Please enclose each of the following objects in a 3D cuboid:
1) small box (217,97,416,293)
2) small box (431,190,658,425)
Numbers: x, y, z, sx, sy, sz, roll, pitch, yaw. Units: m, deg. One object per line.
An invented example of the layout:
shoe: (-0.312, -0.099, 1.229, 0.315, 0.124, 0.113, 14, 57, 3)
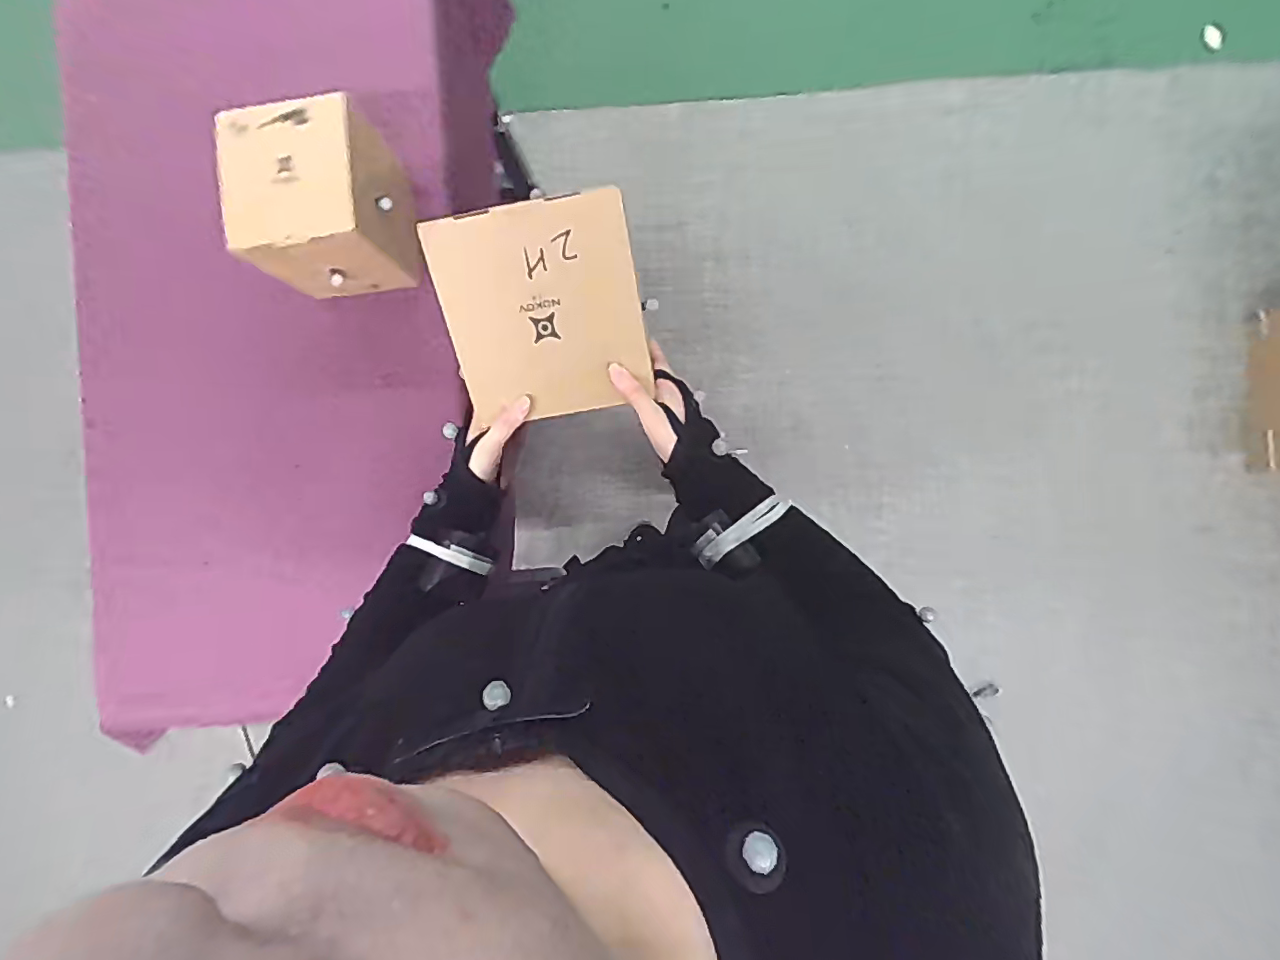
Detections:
small box: (-0.423, -0.367, 0.734, 0.168, 0.176, 0.179, -6, 89, 4)
small box: (-0.072, -0.171, 0.528, 0.168, 0.176, 0.179, -8, 114, 4)
